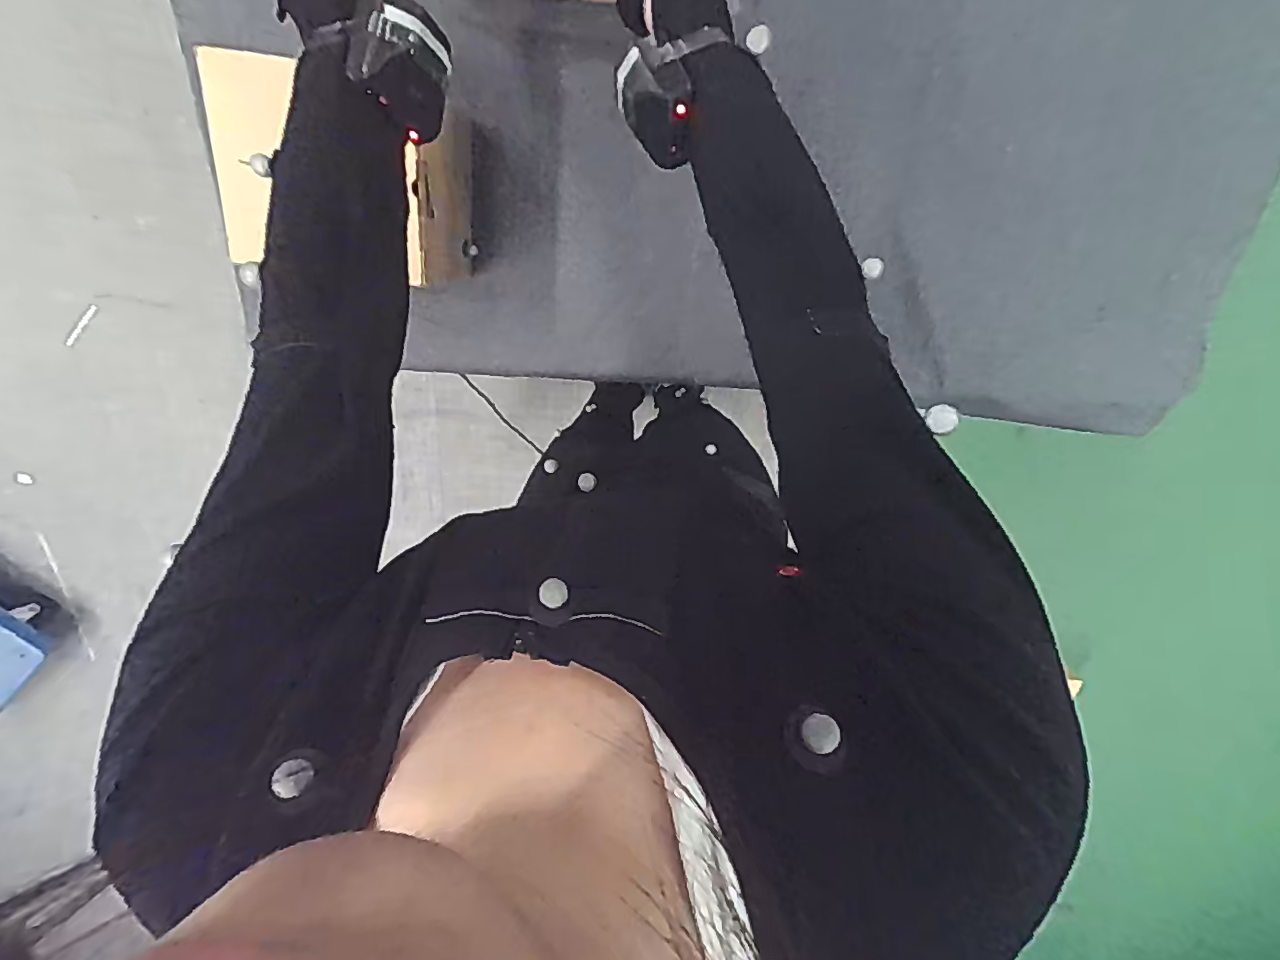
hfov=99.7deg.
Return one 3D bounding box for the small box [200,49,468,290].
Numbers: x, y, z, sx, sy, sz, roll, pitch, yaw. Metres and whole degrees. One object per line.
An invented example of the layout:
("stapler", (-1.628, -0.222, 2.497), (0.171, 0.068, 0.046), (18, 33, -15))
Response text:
("small box", (-0.278, -0.294, 0.542), (0.179, 0.176, 0.168), (6, 113, -3))
